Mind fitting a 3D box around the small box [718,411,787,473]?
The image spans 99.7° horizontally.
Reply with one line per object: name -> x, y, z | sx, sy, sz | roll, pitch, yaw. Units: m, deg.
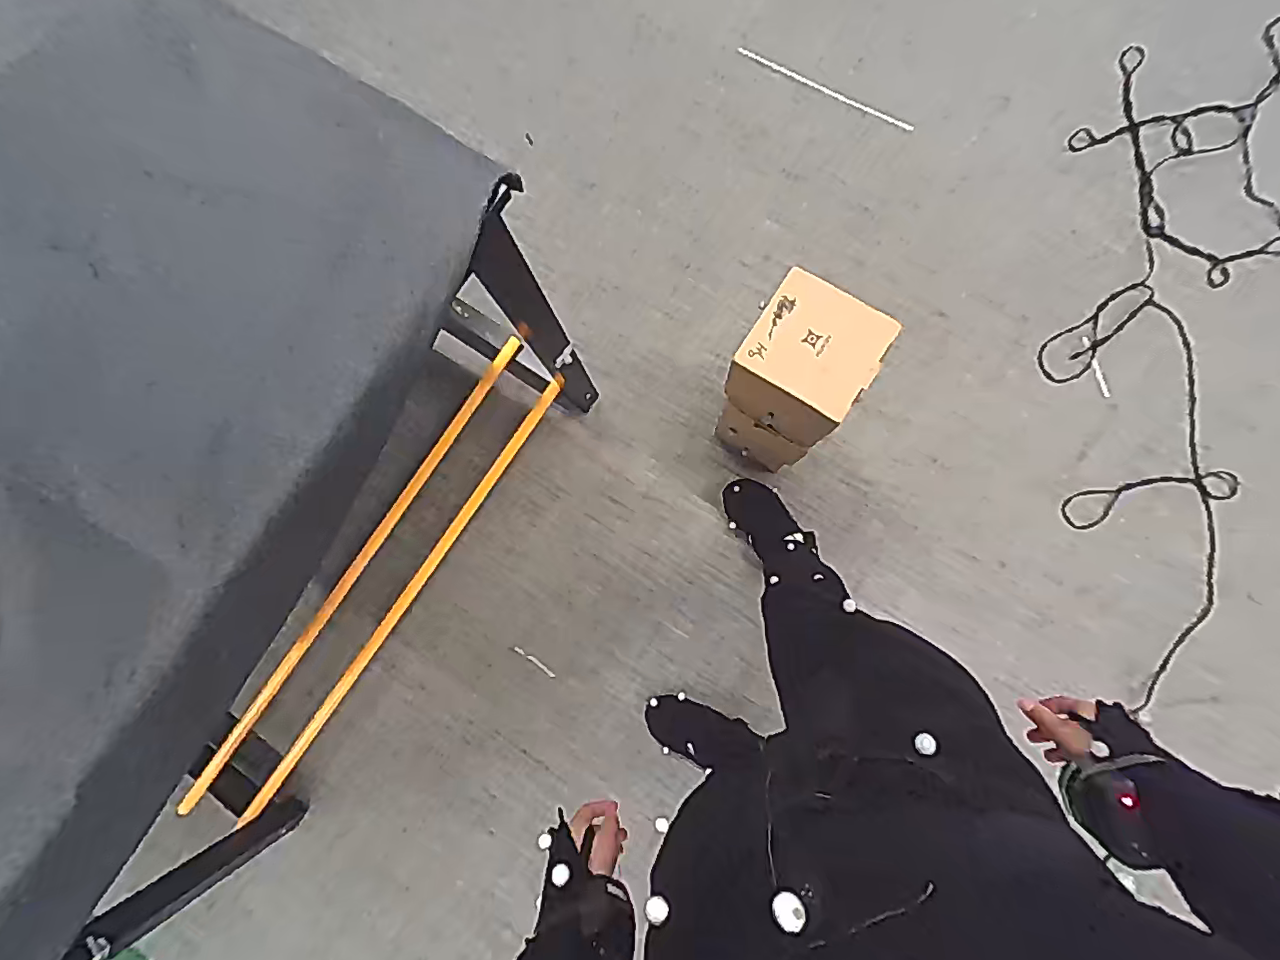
small box -> 0.279, -0.137, 1.153 | 0.168, 0.176, 0.179 | 34, 85, 9

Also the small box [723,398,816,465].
small box -> 0.264, -0.147, 0.990 | 0.168, 0.176, 0.179 | 32, 85, 8

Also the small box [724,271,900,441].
small box -> 0.249, -0.175, 0.828 | 0.179, 0.176, 0.168 | 33, 84, 7
